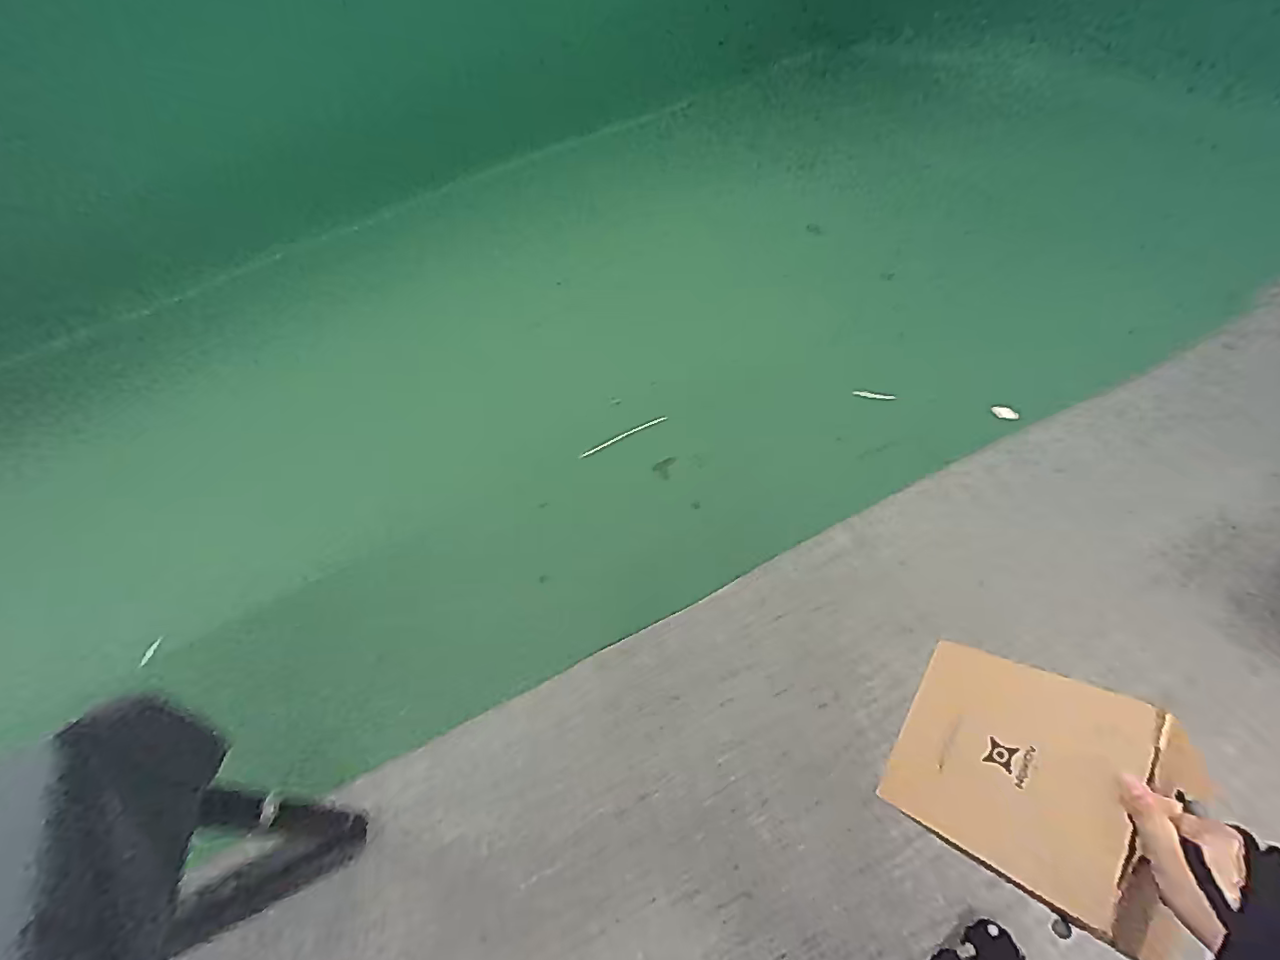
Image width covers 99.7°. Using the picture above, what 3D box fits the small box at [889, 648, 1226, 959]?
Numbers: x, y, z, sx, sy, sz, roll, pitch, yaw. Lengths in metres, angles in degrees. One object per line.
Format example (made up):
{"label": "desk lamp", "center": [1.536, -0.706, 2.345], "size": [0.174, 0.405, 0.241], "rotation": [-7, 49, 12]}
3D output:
{"label": "small box", "center": [0.370, 0.284, 0.481], "size": [0.168, 0.176, 0.179], "rotation": [-55, 26, -16]}
